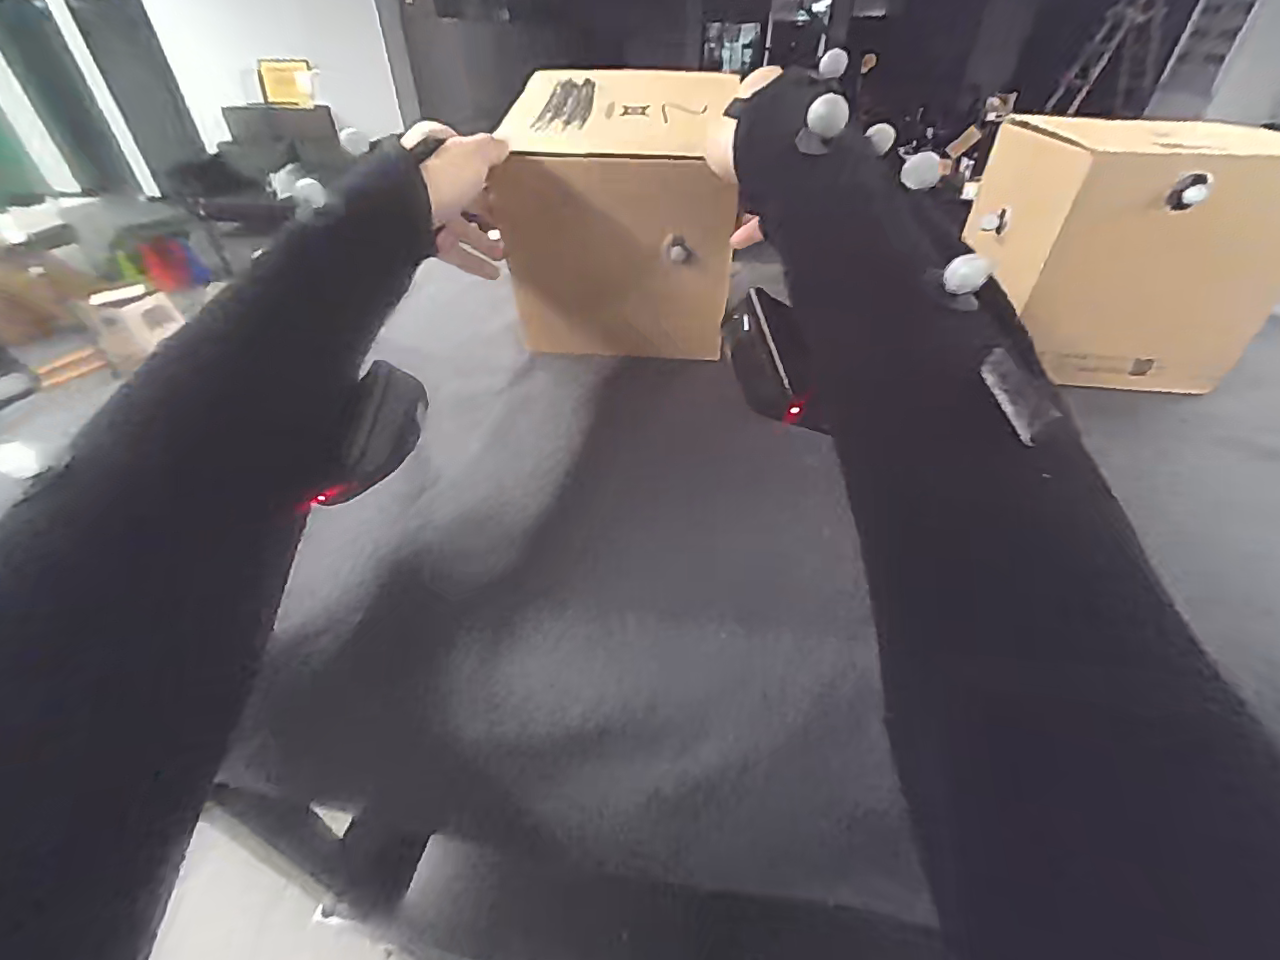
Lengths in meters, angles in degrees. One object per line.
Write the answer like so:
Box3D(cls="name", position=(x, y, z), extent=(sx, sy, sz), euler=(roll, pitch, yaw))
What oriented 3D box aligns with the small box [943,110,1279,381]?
Box3D(cls="small box", position=(0.385, -0.202, 0.456), extent=(0.168, 0.176, 0.179), euler=(6, 39, 8))
